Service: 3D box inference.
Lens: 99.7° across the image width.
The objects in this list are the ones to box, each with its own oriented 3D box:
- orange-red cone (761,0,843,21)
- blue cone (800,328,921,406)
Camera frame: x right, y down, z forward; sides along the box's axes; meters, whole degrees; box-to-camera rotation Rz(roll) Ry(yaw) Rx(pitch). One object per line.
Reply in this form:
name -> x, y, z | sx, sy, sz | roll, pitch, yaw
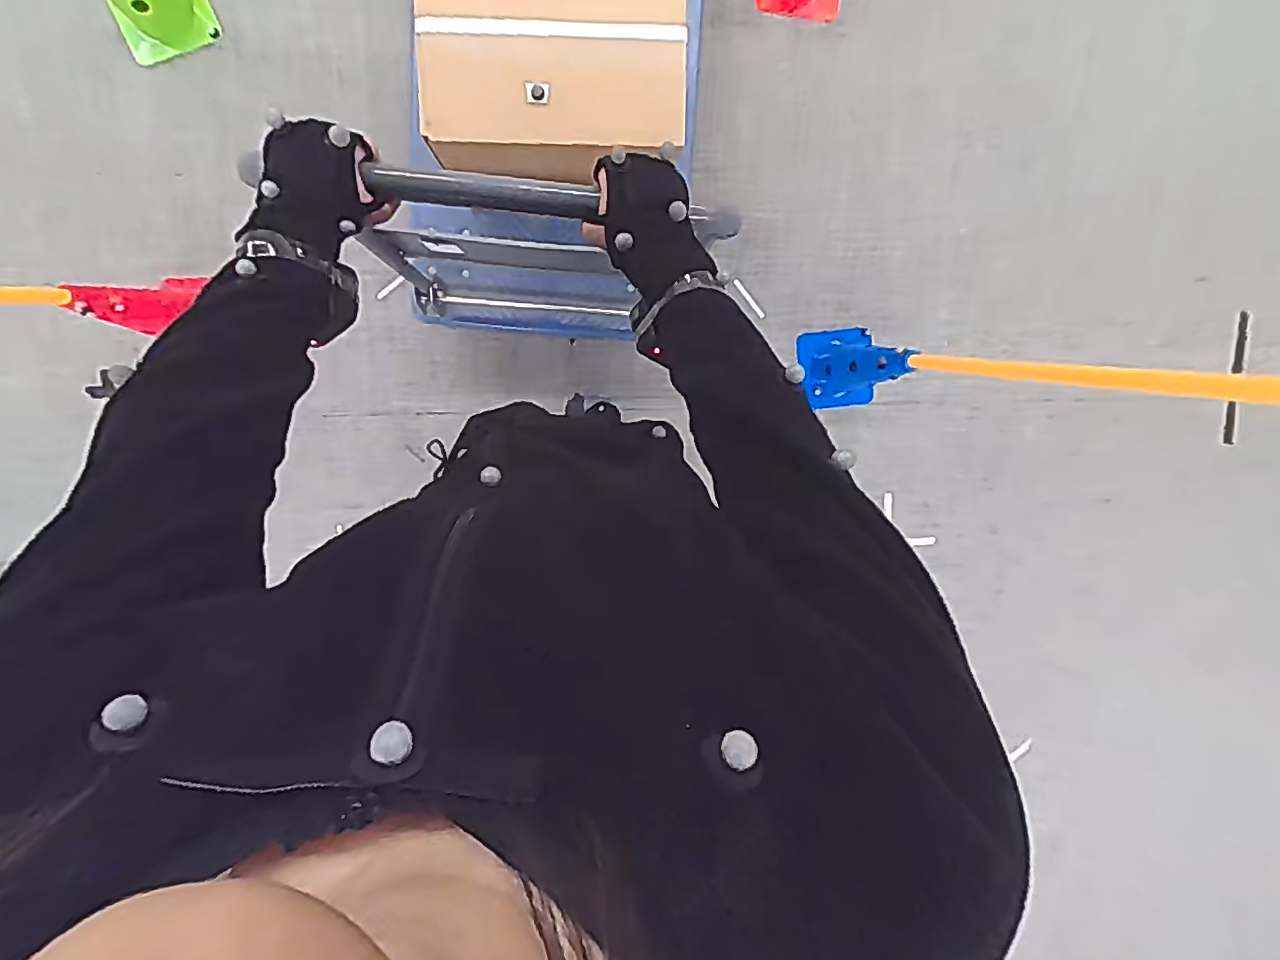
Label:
orange-red cone -> 0.400, -1.158, 1.085 | 0.199, 0.360, 0.198 | 5, 99, -6
blue cone -> 0.529, -0.272, 1.256 | 0.193, 0.380, 0.192 | -5, 99, -4
